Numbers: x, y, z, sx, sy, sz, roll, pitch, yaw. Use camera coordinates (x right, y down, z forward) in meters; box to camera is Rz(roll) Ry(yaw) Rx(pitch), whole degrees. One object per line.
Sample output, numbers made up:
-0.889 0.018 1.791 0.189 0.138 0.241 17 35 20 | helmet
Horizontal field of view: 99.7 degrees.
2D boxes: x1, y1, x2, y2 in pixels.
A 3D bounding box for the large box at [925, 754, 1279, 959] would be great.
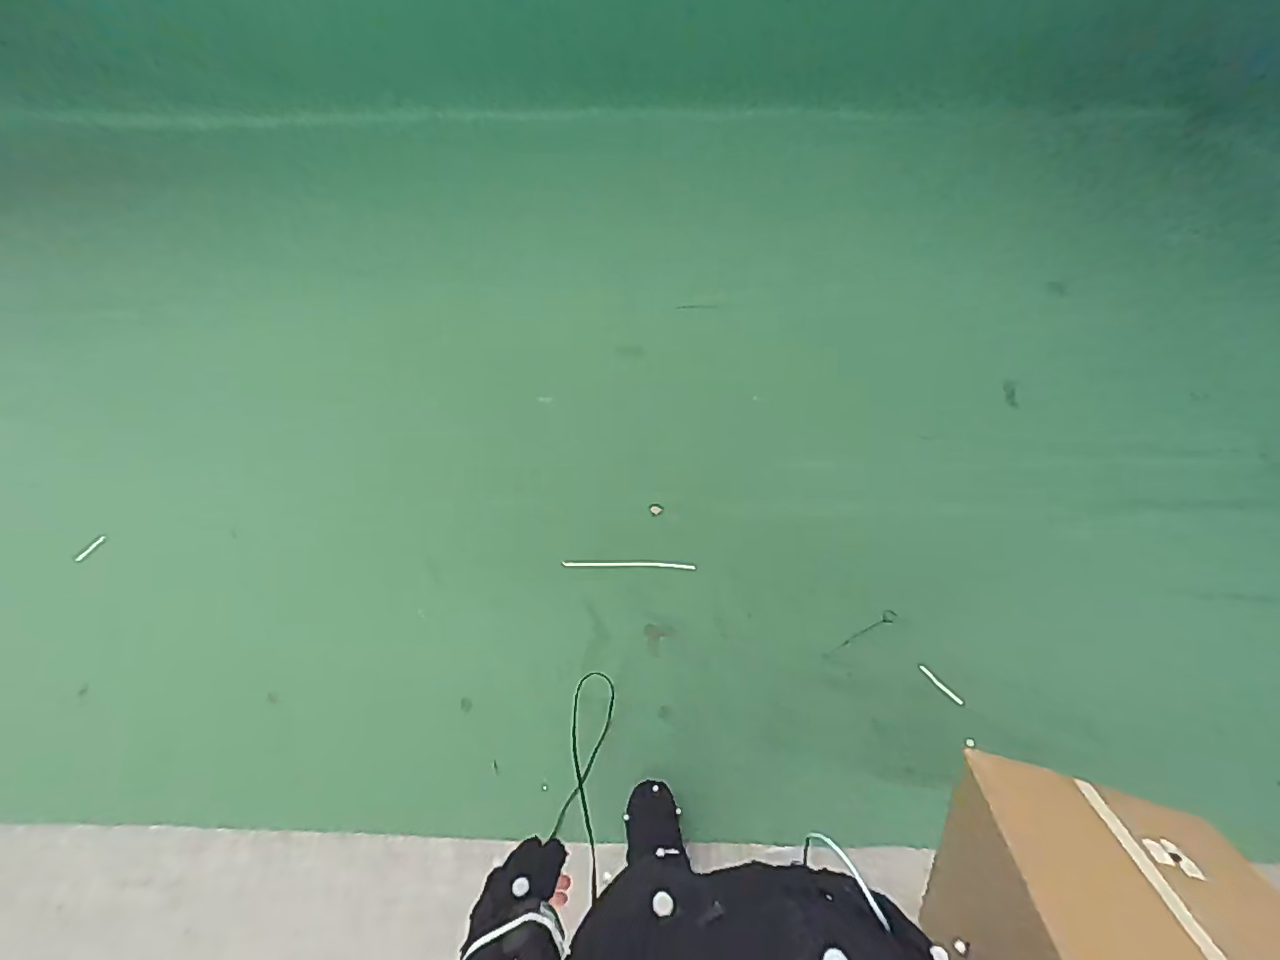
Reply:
0.573 0.622 0.642 0.320 0.408 0.320 12 98 16 | large box
